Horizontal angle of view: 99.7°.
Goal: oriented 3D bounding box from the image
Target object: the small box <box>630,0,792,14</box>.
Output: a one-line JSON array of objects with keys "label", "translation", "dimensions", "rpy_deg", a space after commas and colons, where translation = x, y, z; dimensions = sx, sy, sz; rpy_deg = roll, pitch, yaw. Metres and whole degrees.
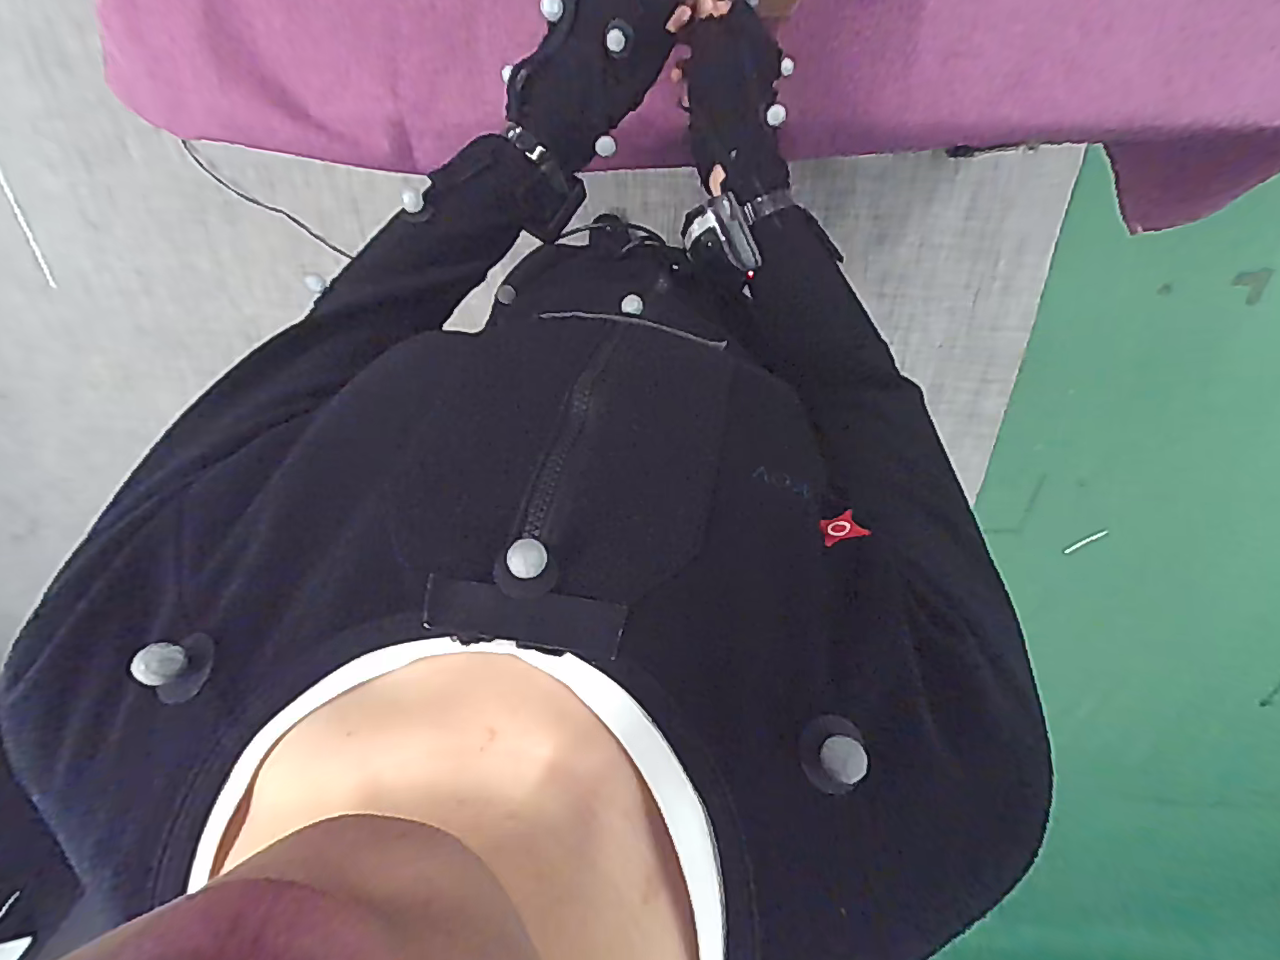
[{"label": "small box", "translation": [0.059, -0.486, 0.410], "dimensions": [0.168, 0.176, 0.179], "rpy_deg": [2, 117, 3]}]
